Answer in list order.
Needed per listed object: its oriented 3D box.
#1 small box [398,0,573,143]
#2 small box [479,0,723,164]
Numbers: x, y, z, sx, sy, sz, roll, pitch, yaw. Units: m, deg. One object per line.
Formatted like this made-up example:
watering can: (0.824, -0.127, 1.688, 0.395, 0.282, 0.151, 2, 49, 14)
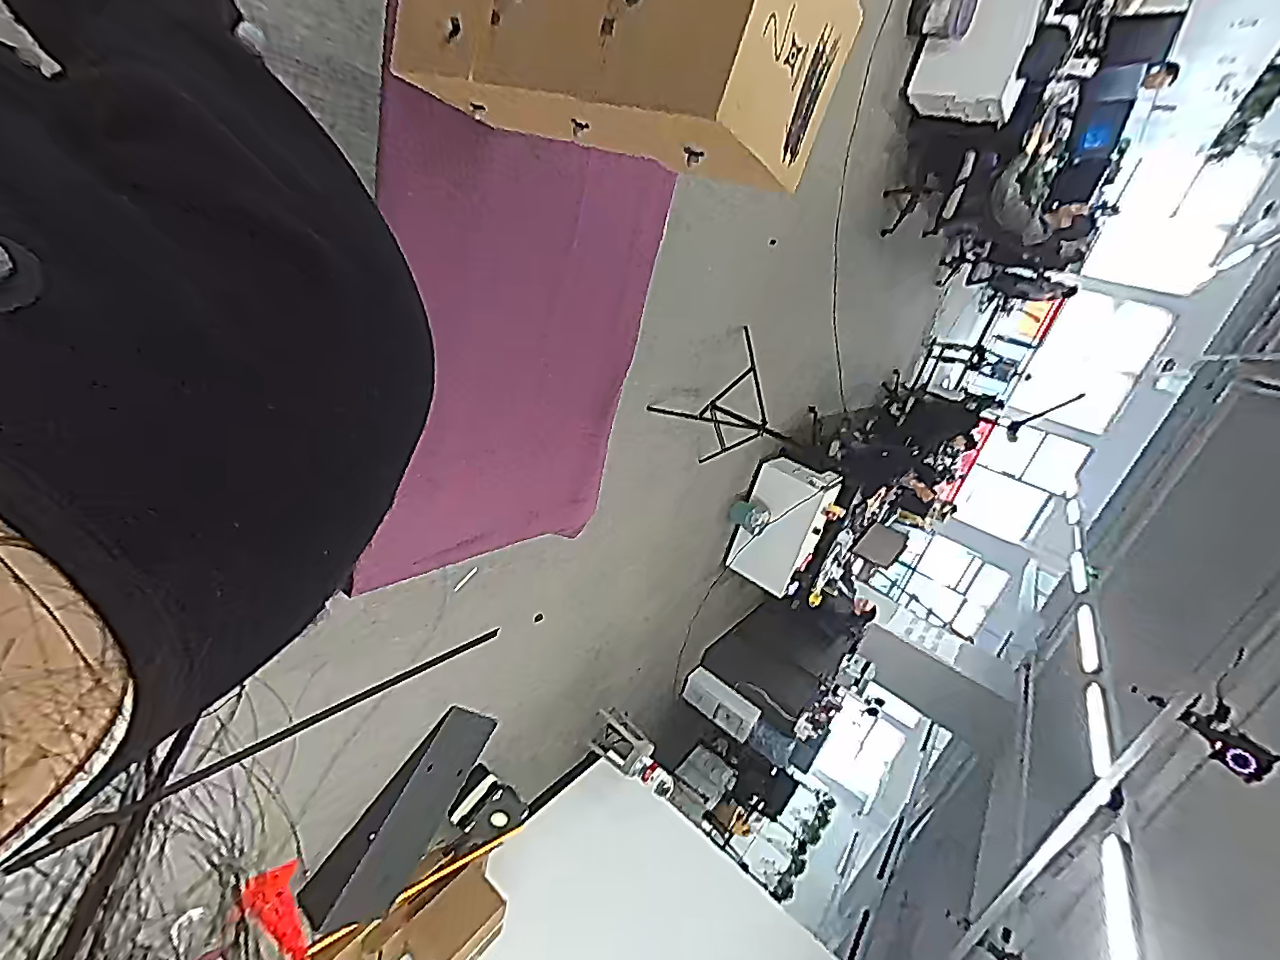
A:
small box: (-0.172, -0.550, 0.663, 0.168, 0.176, 0.179, -10, 124, -54)
small box: (-0.043, -0.477, 0.591, 0.179, 0.176, 0.168, -10, 124, -52)
